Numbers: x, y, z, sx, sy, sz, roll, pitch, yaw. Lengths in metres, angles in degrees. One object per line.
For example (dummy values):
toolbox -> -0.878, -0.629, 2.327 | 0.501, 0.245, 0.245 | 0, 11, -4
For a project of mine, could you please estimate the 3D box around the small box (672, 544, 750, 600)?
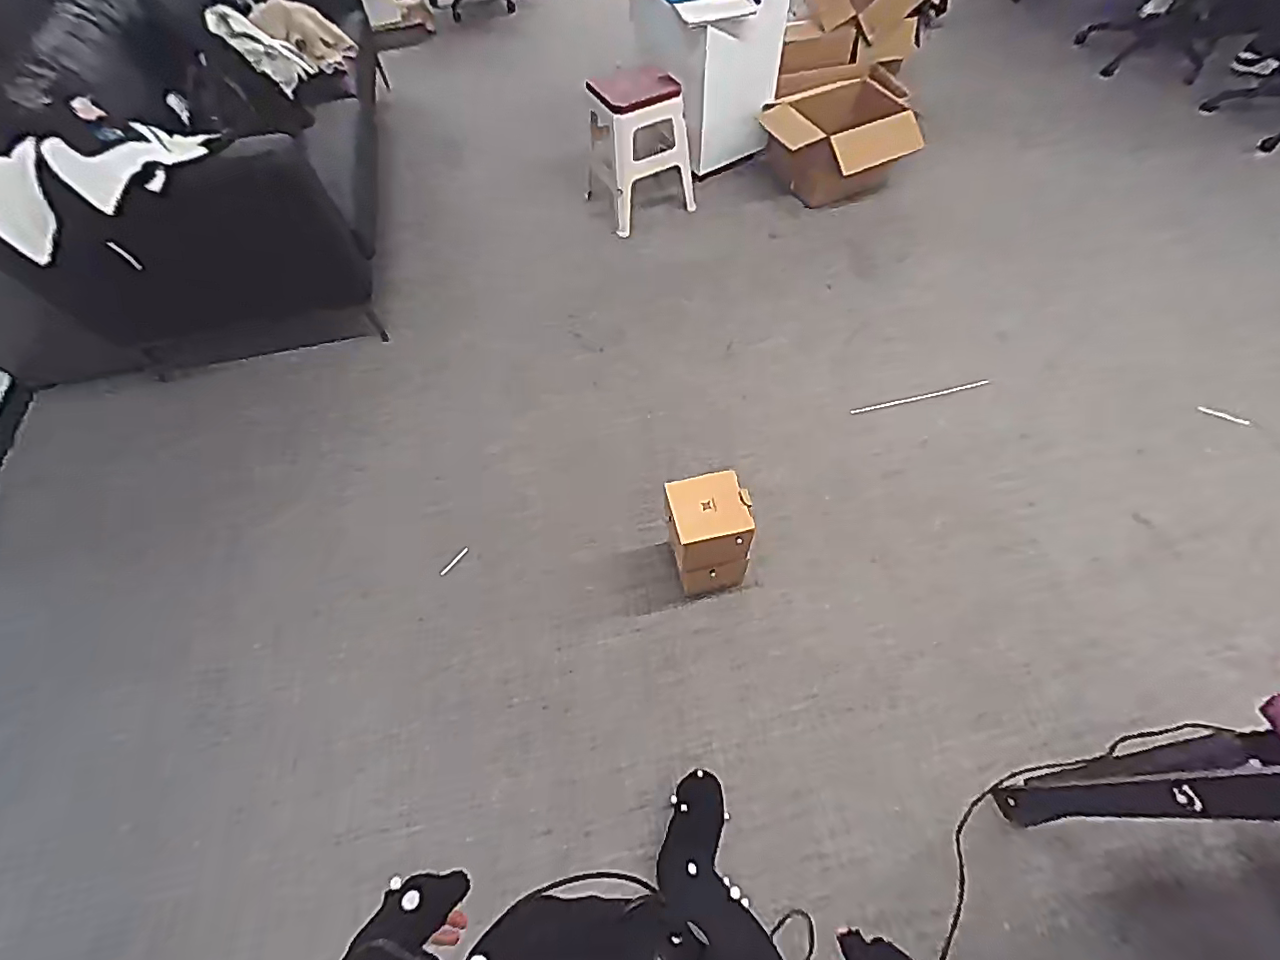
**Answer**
small box -> 0.183, 0.200, 1.456 | 0.168, 0.176, 0.179 | -13, 57, -5

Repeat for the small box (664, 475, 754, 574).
small box -> 0.163, 0.114, 1.319 | 0.179, 0.176, 0.168 | -12, 58, -5
